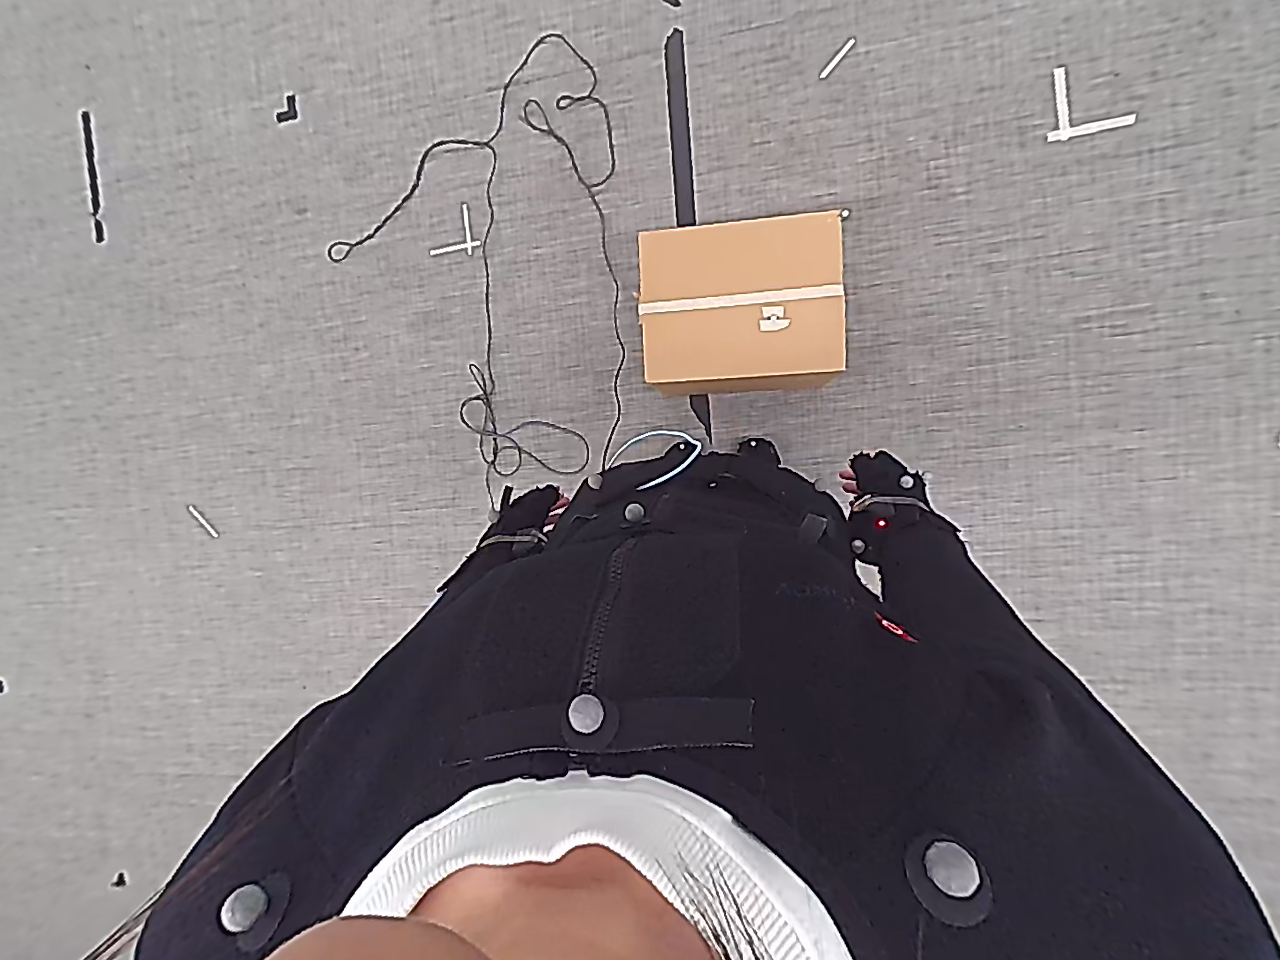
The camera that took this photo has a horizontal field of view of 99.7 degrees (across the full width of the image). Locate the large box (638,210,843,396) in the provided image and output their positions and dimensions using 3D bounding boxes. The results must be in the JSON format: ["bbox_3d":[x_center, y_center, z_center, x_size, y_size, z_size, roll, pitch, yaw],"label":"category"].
[{"bbox_3d":[0.222,-0.376,1.248,0.408,0.320,0.320,-2,94,9],"label":"large box"}]
